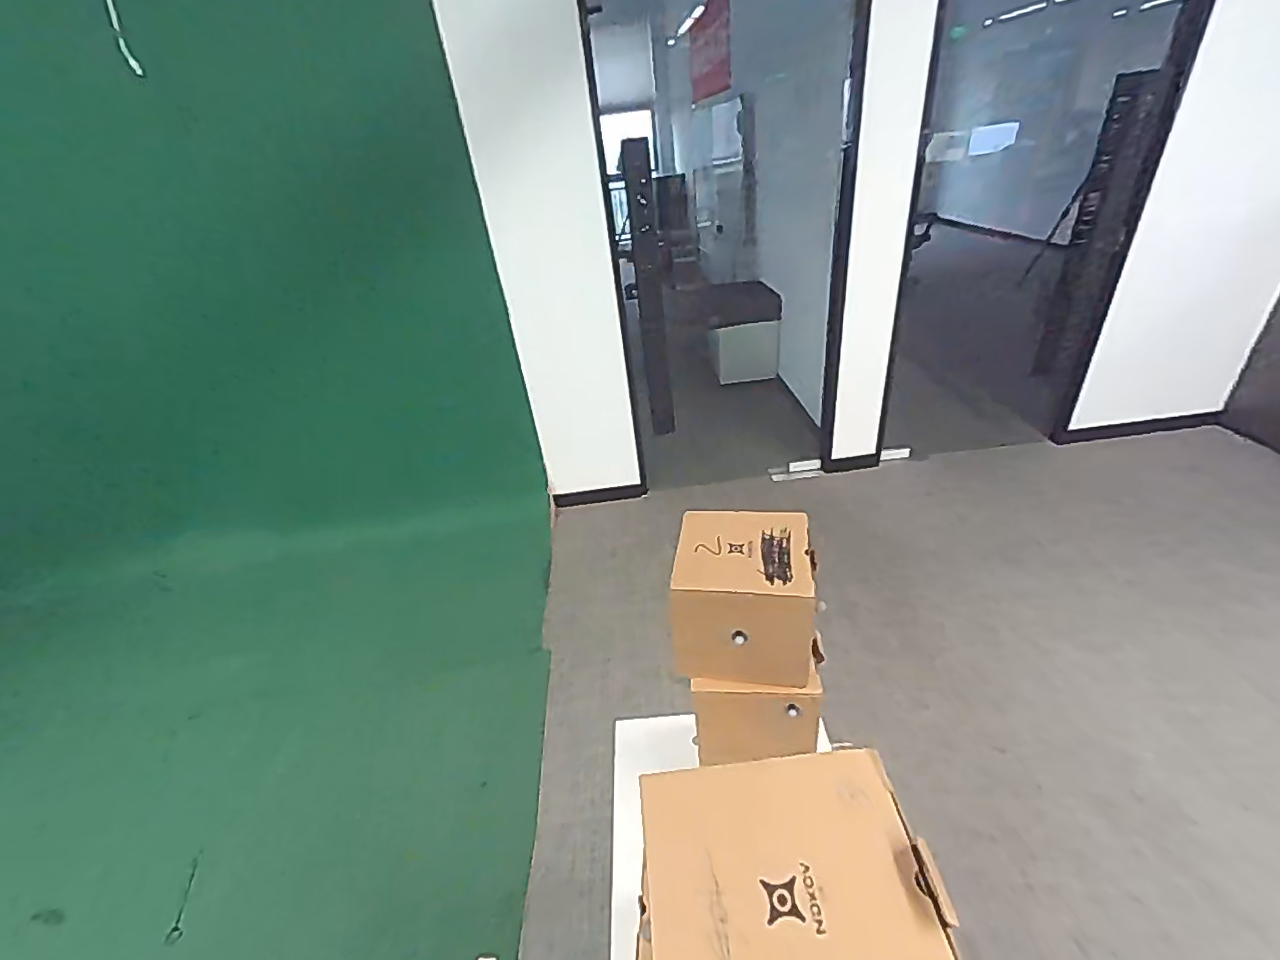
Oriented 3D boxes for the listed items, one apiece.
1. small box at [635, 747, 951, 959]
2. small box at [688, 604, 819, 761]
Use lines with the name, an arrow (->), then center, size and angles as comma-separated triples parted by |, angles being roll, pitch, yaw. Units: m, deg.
small box -> 0.096, 0.318, 0.387 | 0.179, 0.176, 0.168 | -9, 40, 1
small box -> 0.168, 0.310, 0.828 | 0.179, 0.176, 0.168 | -2, 32, 8
